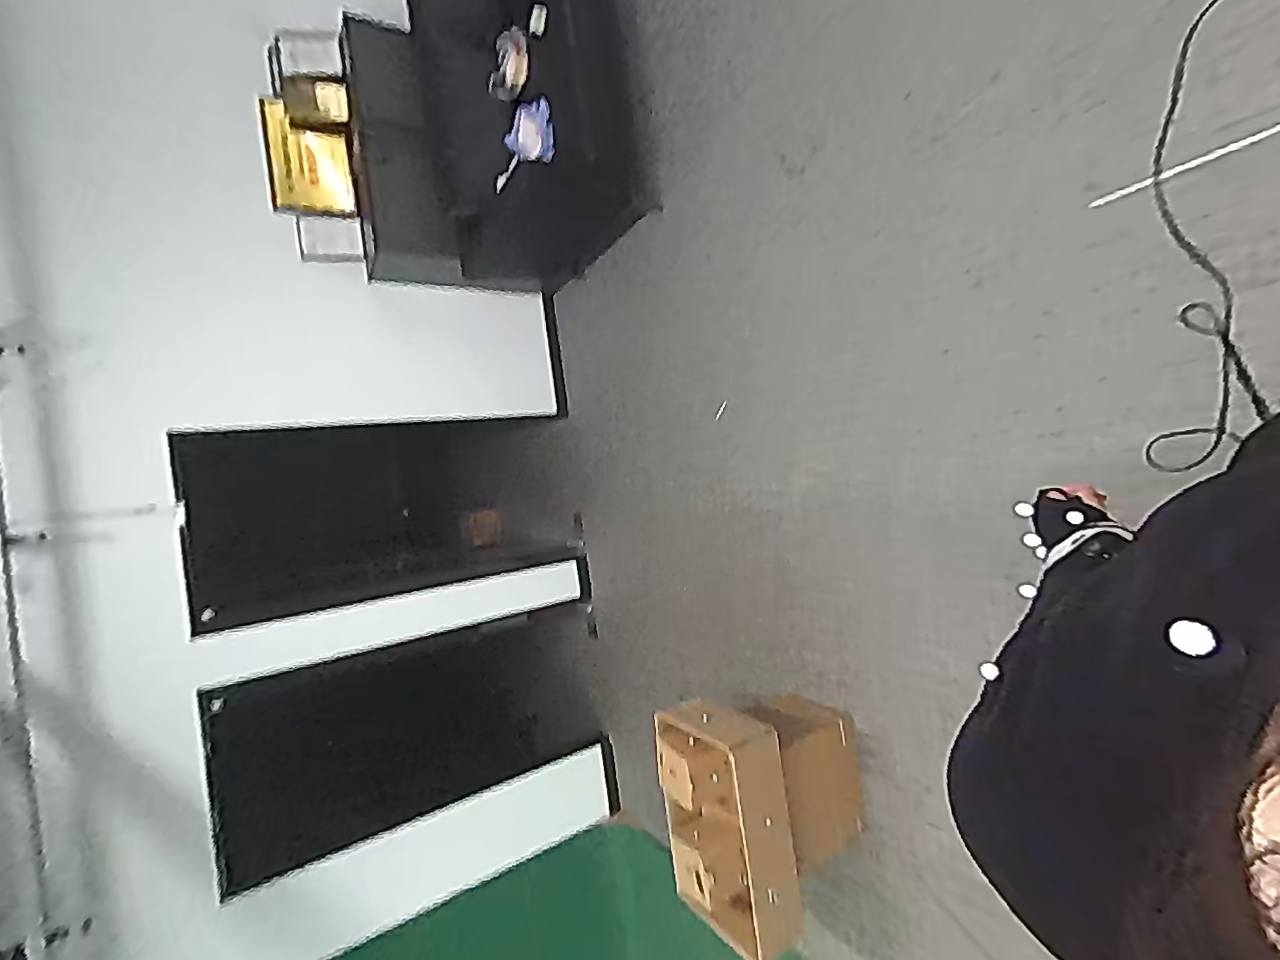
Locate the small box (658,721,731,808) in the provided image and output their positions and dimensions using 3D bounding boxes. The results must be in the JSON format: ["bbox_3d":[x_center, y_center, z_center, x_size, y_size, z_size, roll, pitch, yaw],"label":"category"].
[{"bbox_3d":[0.181,0.911,1.753,0.179,0.176,0.168,4,99,56],"label":"small box"}]
